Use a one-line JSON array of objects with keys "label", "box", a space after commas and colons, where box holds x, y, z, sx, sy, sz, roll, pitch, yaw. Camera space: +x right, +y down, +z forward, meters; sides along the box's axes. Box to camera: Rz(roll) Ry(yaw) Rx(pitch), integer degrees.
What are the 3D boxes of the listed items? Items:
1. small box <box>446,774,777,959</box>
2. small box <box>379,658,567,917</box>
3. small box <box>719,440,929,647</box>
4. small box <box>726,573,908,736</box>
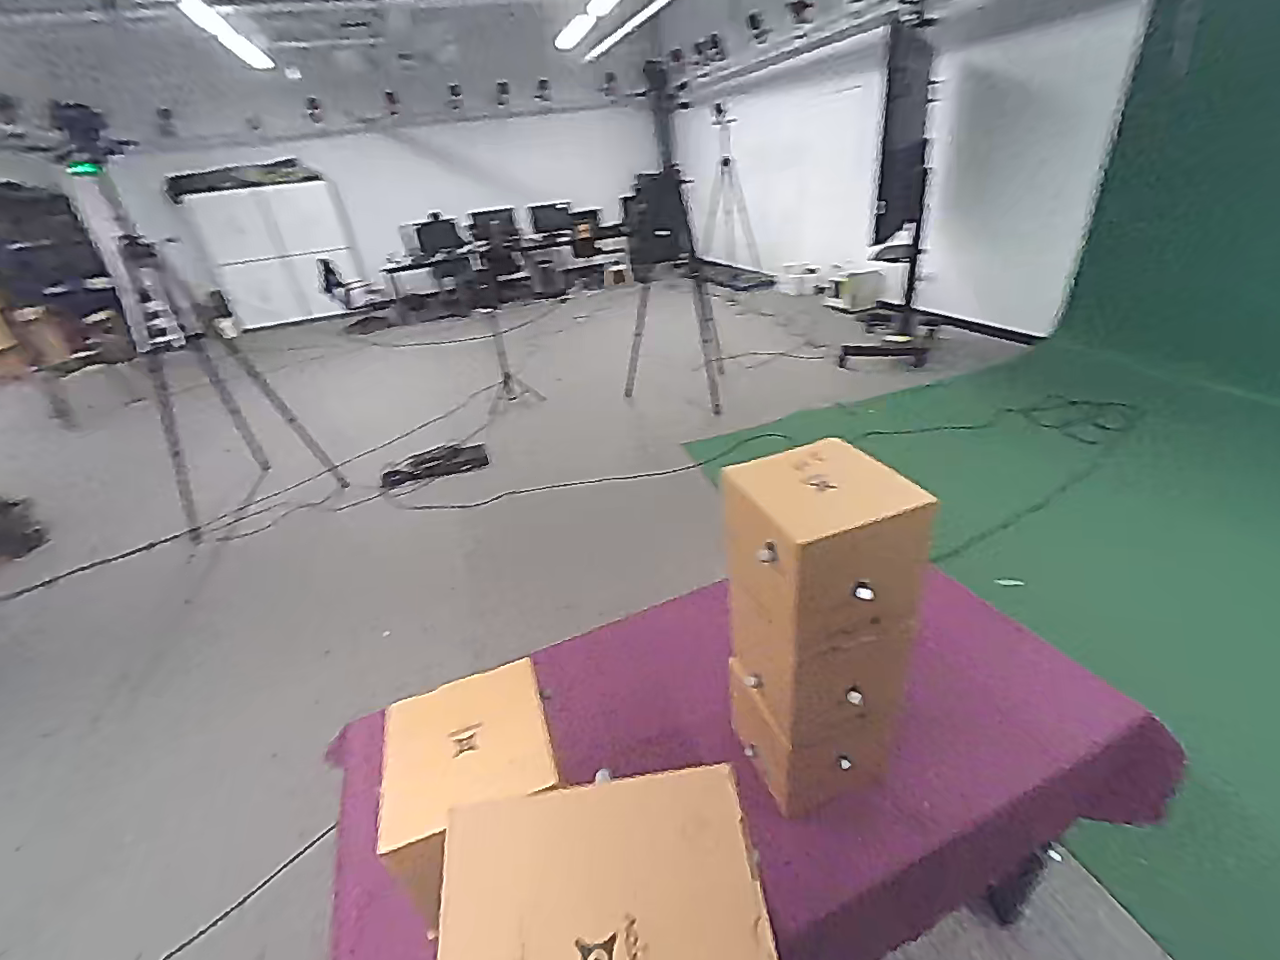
[{"label": "small box", "box": [-0.013, 0.303, 0.343, 0.179, 0.176, 0.168, -7, 50, -2]}, {"label": "small box", "box": [-0.176, 0.344, 0.610, 0.168, 0.176, 0.179, -16, 30, -14]}, {"label": "small box", "box": [0.209, 0.076, 0.653, 0.168, 0.176, 0.179, -15, 30, -12]}, {"label": "small box", "box": [0.229, 0.217, 0.737, 0.168, 0.176, 0.179, -14, 31, -11]}]
